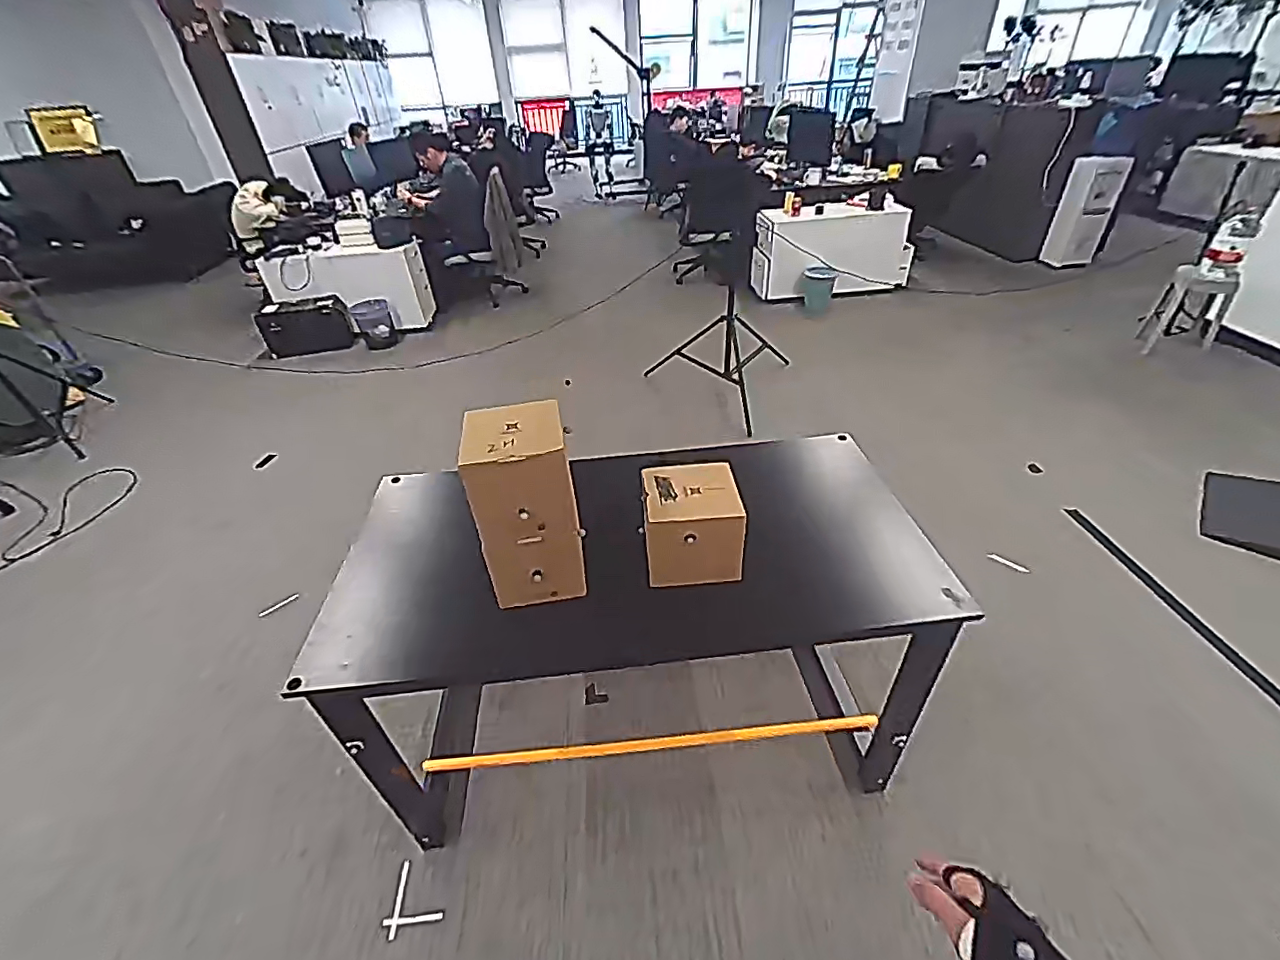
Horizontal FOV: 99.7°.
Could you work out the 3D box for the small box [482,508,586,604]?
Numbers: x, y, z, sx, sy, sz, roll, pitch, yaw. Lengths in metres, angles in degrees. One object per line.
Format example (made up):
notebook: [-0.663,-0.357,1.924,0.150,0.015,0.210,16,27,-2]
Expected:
small box: [-0.199,0.123,1.050,0.168,0.176,0.179,-8,37,-5]

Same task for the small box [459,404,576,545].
small box: [-0.209,-0.012,0.954,0.168,0.176,0.179,-9,37,-6]

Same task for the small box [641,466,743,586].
small box: [0.098,0.091,1.061,0.179,0.176,0.168,-4,37,-1]
